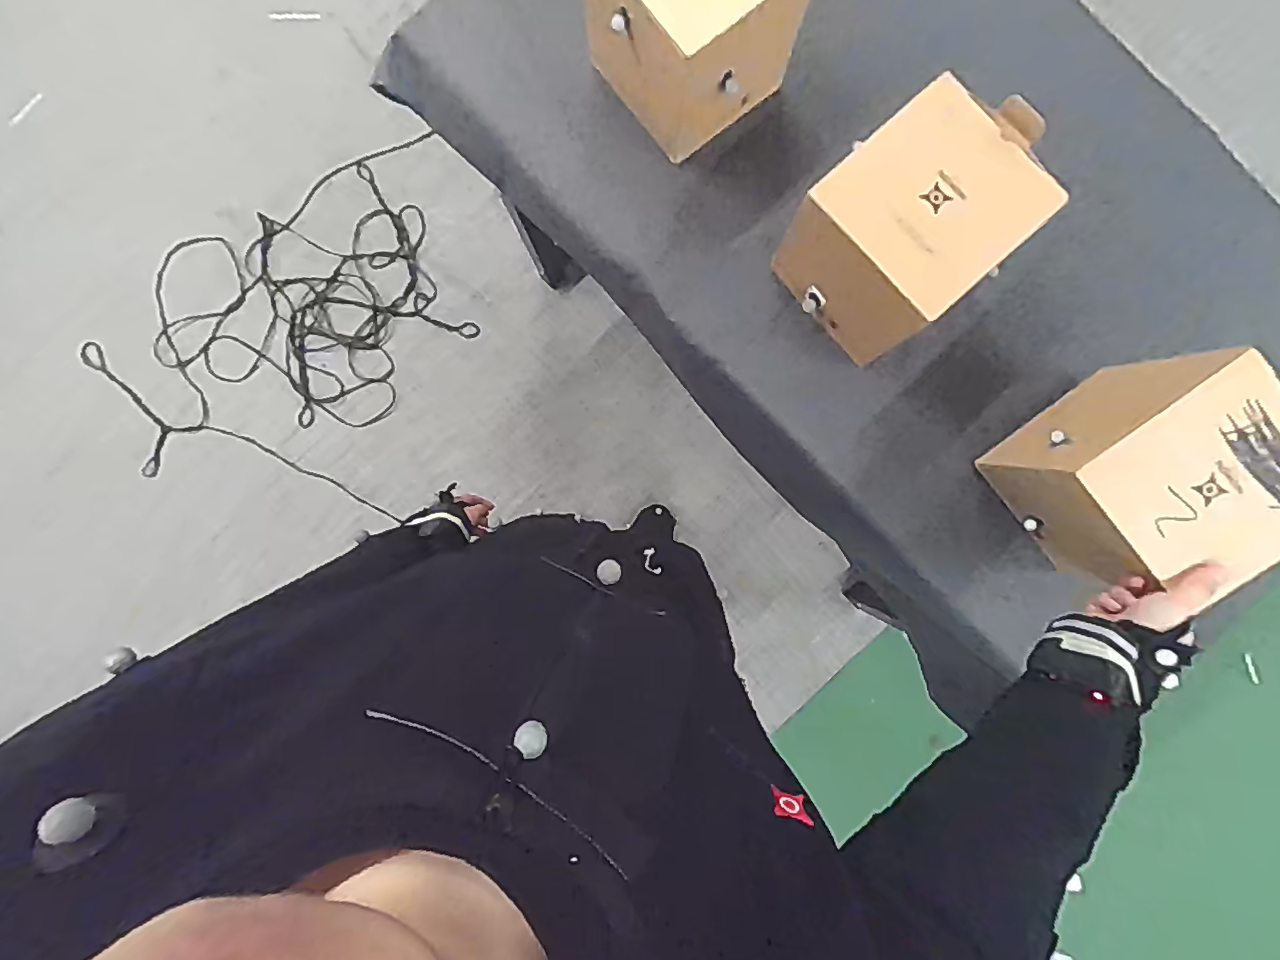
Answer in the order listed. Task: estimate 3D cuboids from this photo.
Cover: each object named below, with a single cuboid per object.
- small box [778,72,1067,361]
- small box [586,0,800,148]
[{"bbox_3d":[0.274,-0.257,0.572,0.179,0.176,0.168,-43,87,-1],"label":"small box"},{"bbox_3d":[0.056,-0.501,0.581,0.168,0.176,0.179,-38,88,-1],"label":"small box"}]
